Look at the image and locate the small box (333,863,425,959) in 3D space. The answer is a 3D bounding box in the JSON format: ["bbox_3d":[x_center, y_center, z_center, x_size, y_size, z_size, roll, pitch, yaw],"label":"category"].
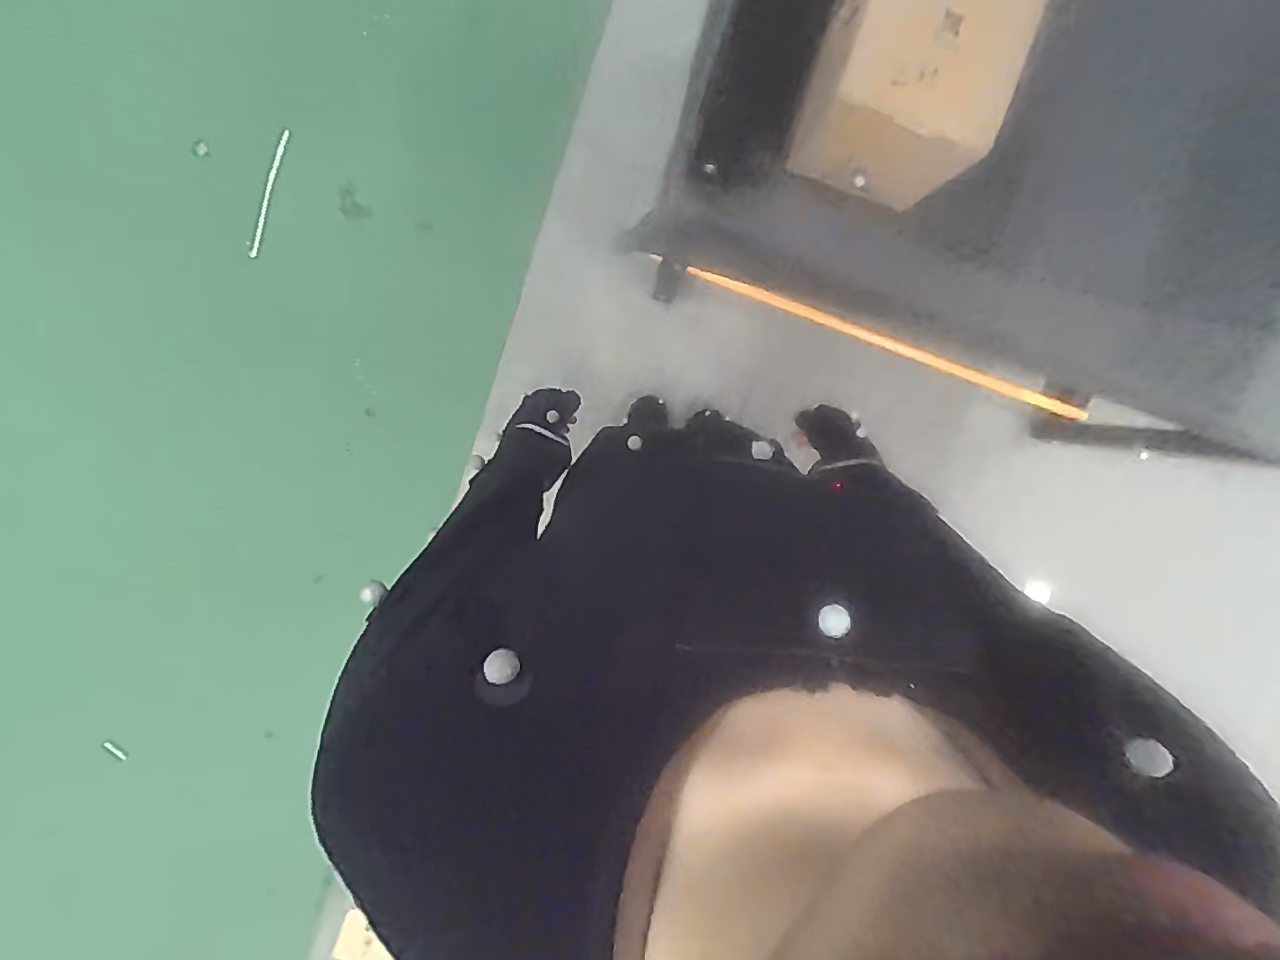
[{"bbox_3d":[-0.743,1.261,1.560,0.168,0.176,0.179,21,98,-5],"label":"small box"}]

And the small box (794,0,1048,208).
[{"bbox_3d":[0.291,-0.439,0.598,0.168,0.176,0.179,17,97,-4],"label":"small box"}]
